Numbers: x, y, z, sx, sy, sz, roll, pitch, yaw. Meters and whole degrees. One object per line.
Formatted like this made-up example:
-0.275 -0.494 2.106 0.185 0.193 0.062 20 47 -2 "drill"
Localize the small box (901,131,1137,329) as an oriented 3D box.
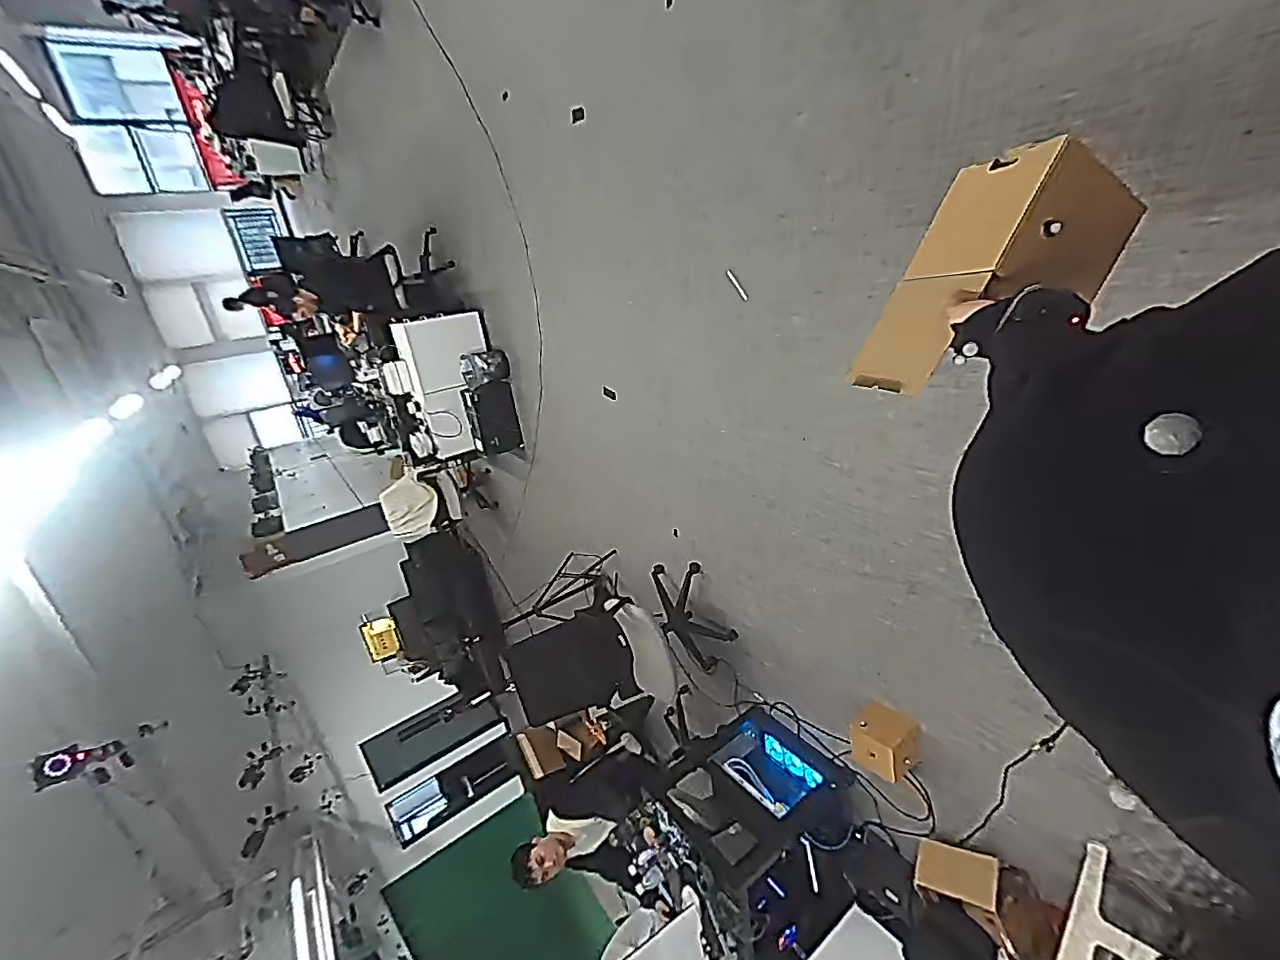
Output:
0.510 -0.320 0.736 0.179 0.176 0.168 -63 20 8 "small box"
